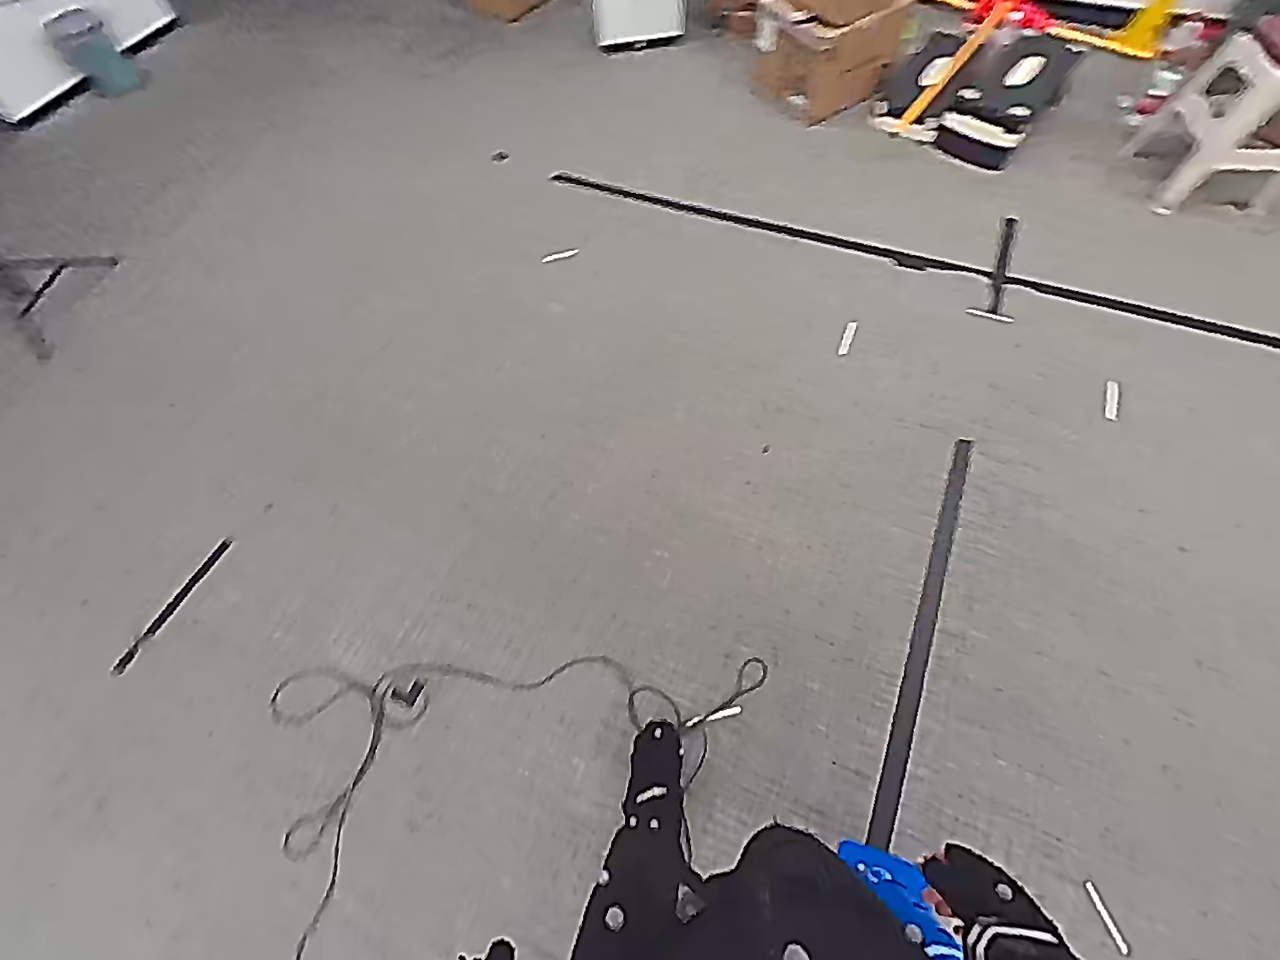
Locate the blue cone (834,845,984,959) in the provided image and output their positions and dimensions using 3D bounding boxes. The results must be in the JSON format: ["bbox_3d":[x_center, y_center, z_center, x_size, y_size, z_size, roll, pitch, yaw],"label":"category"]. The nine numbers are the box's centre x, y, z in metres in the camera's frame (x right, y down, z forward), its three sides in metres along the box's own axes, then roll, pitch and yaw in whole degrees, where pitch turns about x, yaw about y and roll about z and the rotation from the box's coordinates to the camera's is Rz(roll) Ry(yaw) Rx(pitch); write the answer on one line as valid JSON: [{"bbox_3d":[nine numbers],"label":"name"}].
[{"bbox_3d":[0.496,0.806,0.963,0.192,0.380,0.193,17,65,10],"label":"blue cone"}]
